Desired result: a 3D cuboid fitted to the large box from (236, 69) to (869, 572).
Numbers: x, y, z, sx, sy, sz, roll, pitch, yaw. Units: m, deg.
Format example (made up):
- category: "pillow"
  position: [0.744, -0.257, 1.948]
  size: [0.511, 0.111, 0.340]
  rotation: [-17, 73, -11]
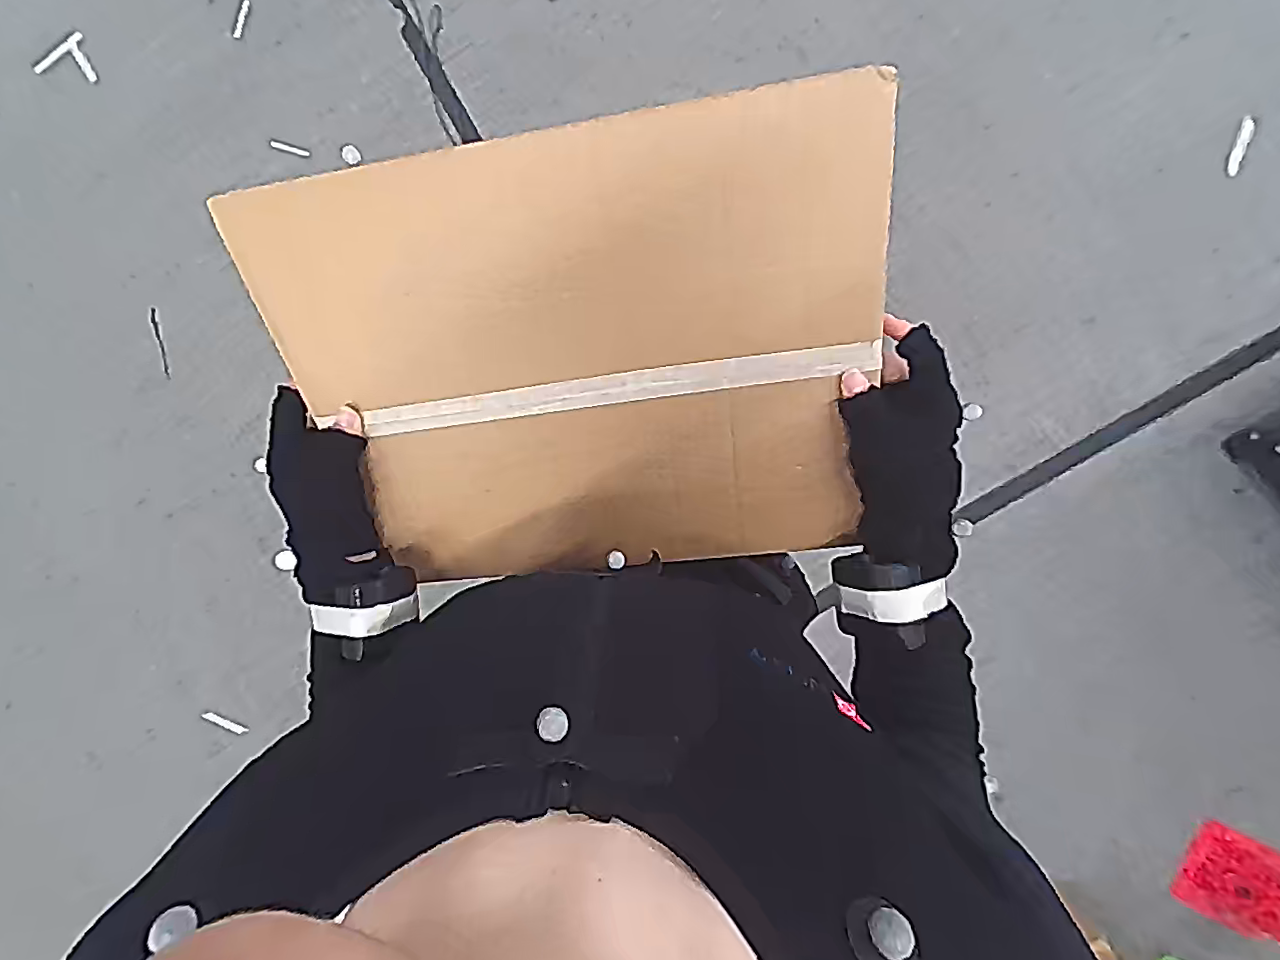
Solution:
- category: "large box"
  position: [-0.037, -0.143, 0.521]
  size: [0.408, 0.320, 0.320]
  rotation: [-6, 121, 8]
